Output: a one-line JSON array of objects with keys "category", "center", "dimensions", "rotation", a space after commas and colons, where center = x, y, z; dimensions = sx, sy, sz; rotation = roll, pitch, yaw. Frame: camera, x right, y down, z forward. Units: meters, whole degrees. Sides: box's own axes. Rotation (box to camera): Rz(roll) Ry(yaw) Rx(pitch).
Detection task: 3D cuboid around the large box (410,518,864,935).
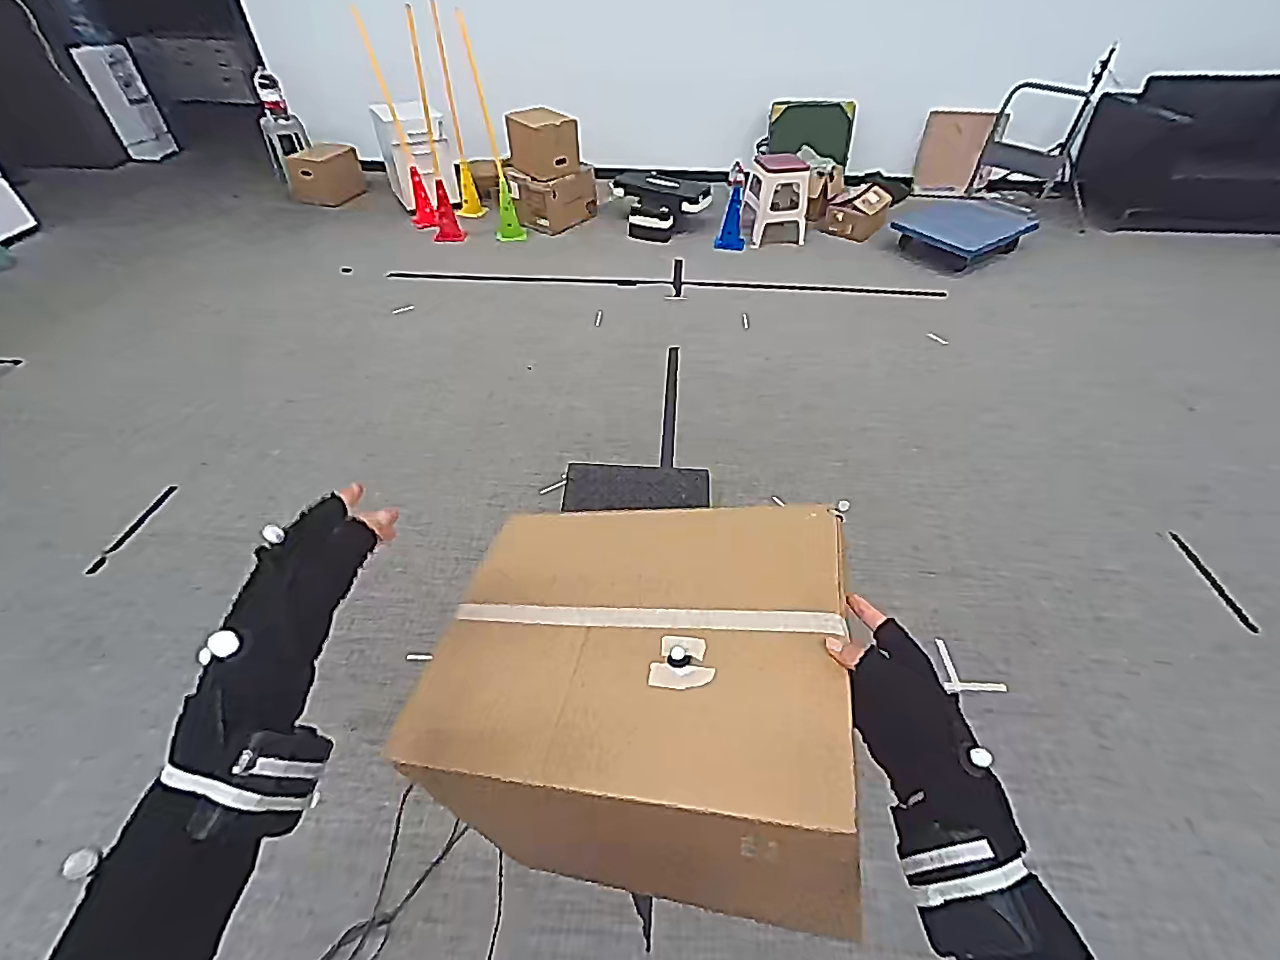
[{"category": "large box", "center": [0.037, 0.266, 0.642], "dimensions": [0.408, 0.320, 0.320], "rotation": [-4, 39, 22]}]
